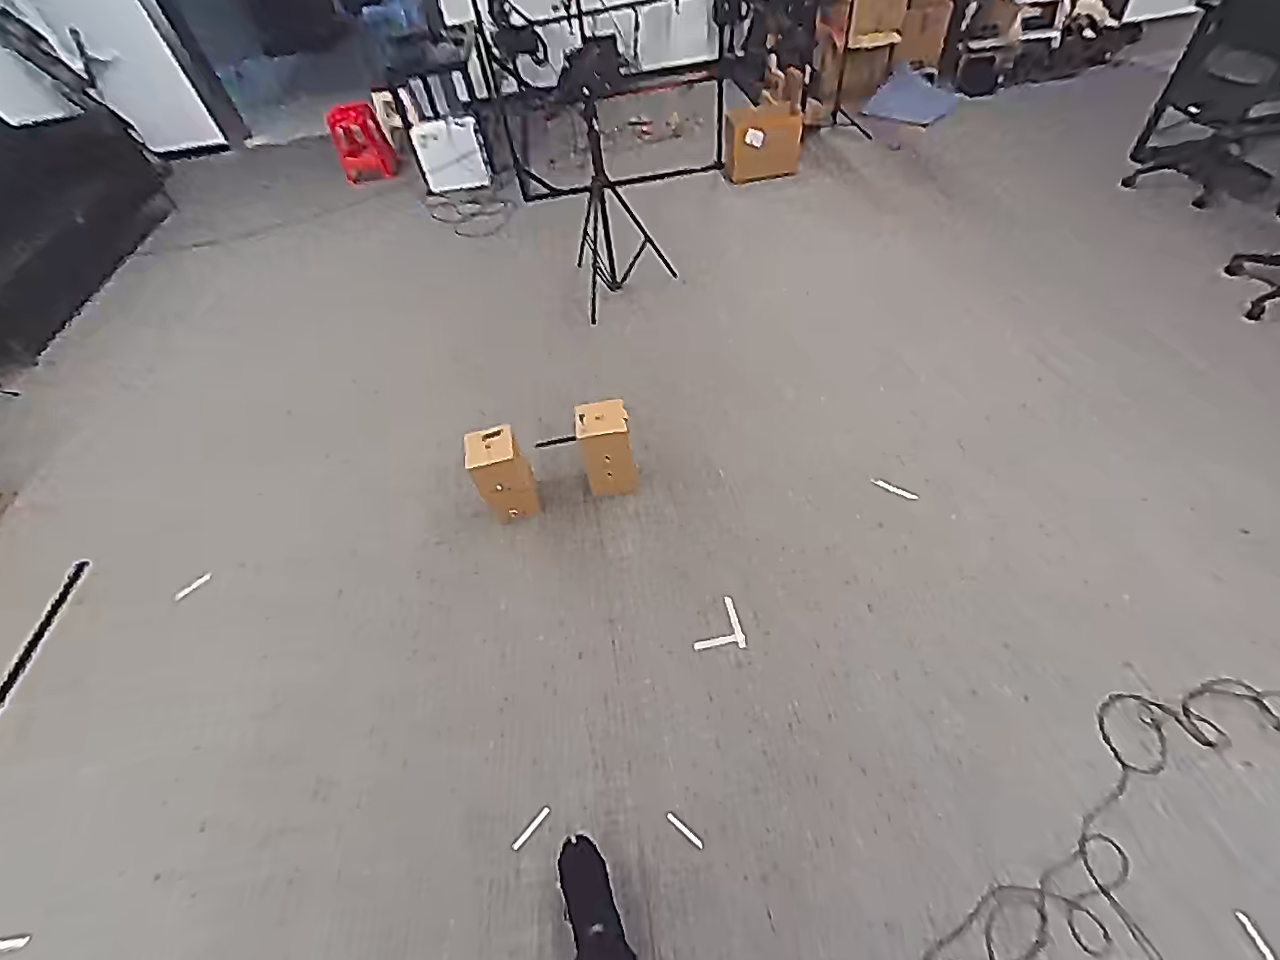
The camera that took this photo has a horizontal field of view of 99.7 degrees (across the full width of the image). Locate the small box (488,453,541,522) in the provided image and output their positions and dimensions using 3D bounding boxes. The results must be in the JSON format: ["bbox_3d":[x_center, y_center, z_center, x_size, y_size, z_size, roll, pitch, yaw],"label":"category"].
[{"bbox_3d":[-0.480,0.031,2.044,0.168,0.176,0.179,-15,51,-4],"label":"small box"}]

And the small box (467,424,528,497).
[{"bbox_3d":[-0.504,-0.067,1.915,0.168,0.176,0.179,-14,51,-3],"label":"small box"}]

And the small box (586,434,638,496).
[{"bbox_3d":[-0.109,-0.055,2.063,0.179,0.176,0.168,-9,51,0],"label":"small box"}]

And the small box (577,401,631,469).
[{"bbox_3d":[-0.126,-0.159,1.938,0.179,0.176,0.168,-8,50,0],"label":"small box"}]
